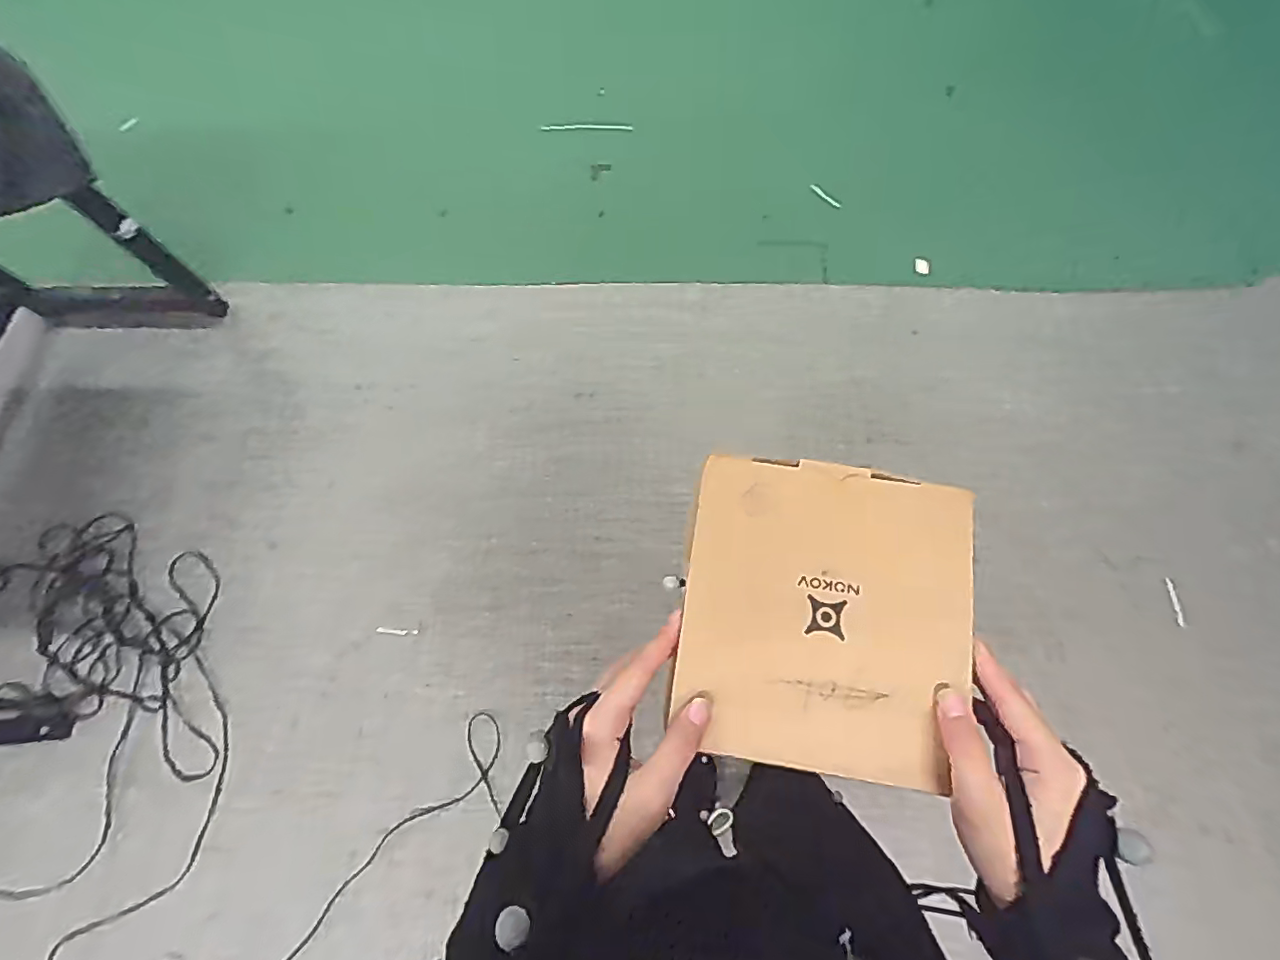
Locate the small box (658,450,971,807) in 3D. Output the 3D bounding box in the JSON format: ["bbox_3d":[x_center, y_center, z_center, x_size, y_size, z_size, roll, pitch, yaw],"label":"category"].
[{"bbox_3d":[0.104,0.096,0.382,0.168,0.176,0.179,8,76,5],"label":"small box"}]
